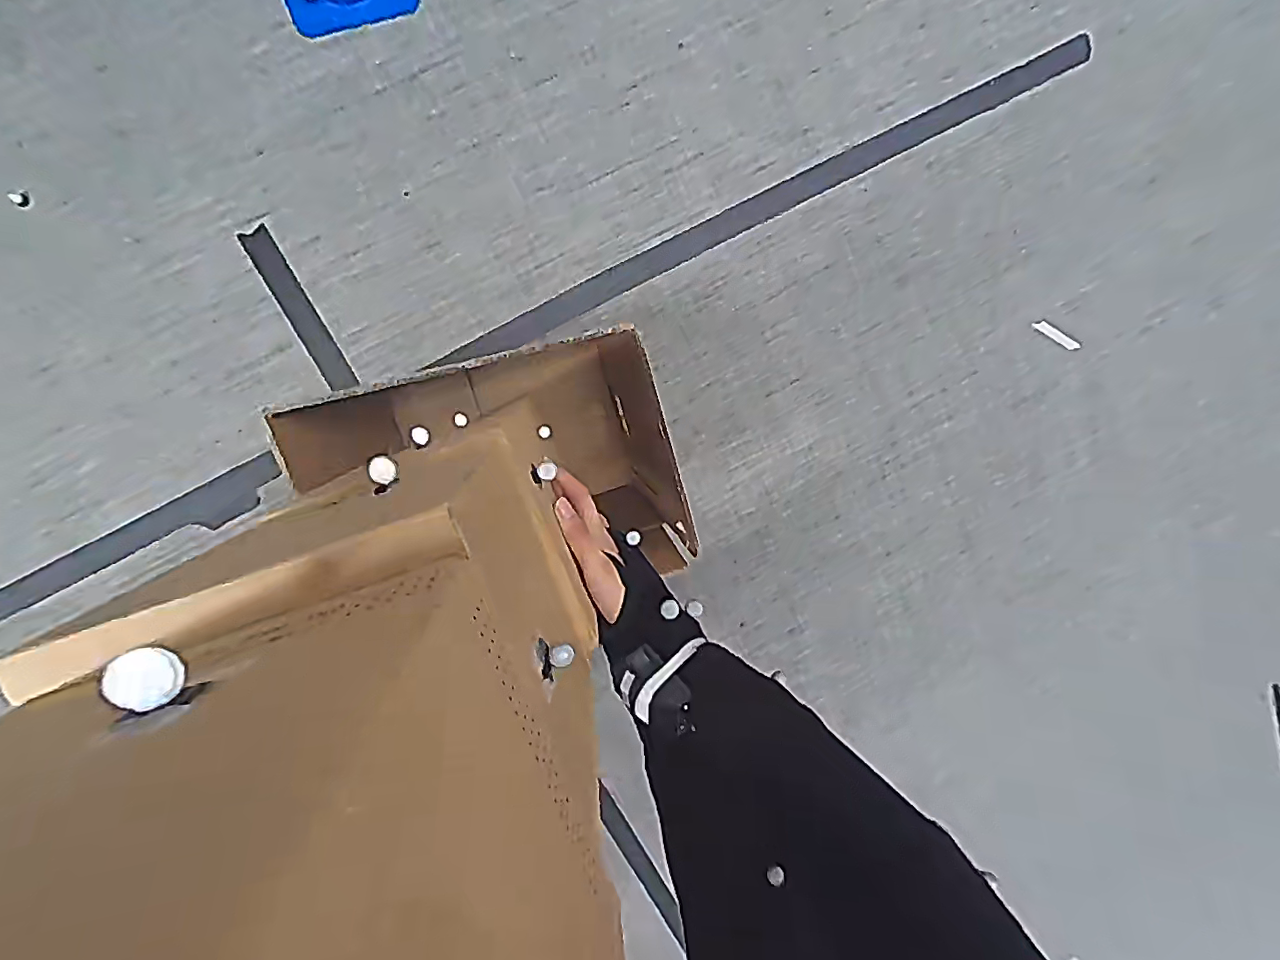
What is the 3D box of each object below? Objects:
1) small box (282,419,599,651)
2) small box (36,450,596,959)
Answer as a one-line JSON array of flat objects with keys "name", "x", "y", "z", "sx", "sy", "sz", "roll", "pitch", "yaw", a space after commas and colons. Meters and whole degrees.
[{"name": "small box", "x": -0.143, "y": 0.055, "z": 0.453, "sx": 0.168, "sy": 0.176, "sz": 0.179, "roll": -20, "pitch": 104, "yaw": -2}, {"name": "small box", "x": -0.127, "y": 0.097, "z": 0.296, "sx": 0.168, "sy": 0.176, "sz": 0.179, "roll": -18, "pitch": 103, "yaw": -3}]
